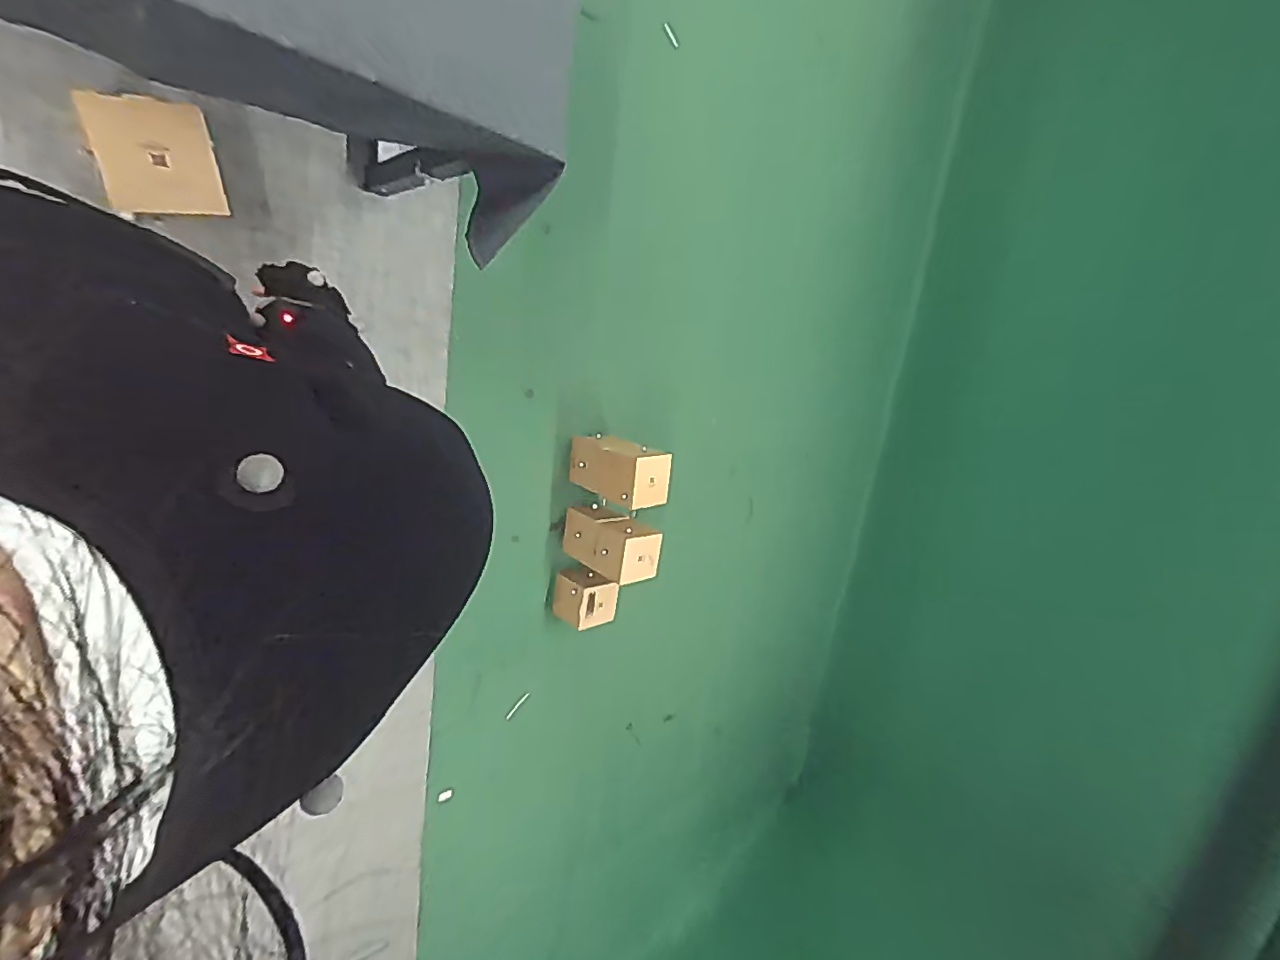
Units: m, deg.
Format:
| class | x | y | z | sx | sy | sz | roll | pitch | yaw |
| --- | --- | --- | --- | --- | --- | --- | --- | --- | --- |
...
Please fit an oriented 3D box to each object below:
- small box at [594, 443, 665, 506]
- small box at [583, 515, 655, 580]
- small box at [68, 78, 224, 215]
| class | x | y | z | sx | sy | sz | roll | pitch | yaw |
| --- | --- | --- | --- | --- | --- | --- | --- | --- | --- |
| small box | -0.040 | -0.027 | 1.825 | 0.168 | 0.176 | 0.179 | -9 | 112 | -44 |
| small box | -0.077 | 0.230 | 1.888 | 0.179 | 0.176 | 0.168 | -4 | 109 | -45 |
| small box | -0.887 | -0.584 | 0.973 | 0.168 | 0.176 | 0.179 | -20 | 119 | -39 |
